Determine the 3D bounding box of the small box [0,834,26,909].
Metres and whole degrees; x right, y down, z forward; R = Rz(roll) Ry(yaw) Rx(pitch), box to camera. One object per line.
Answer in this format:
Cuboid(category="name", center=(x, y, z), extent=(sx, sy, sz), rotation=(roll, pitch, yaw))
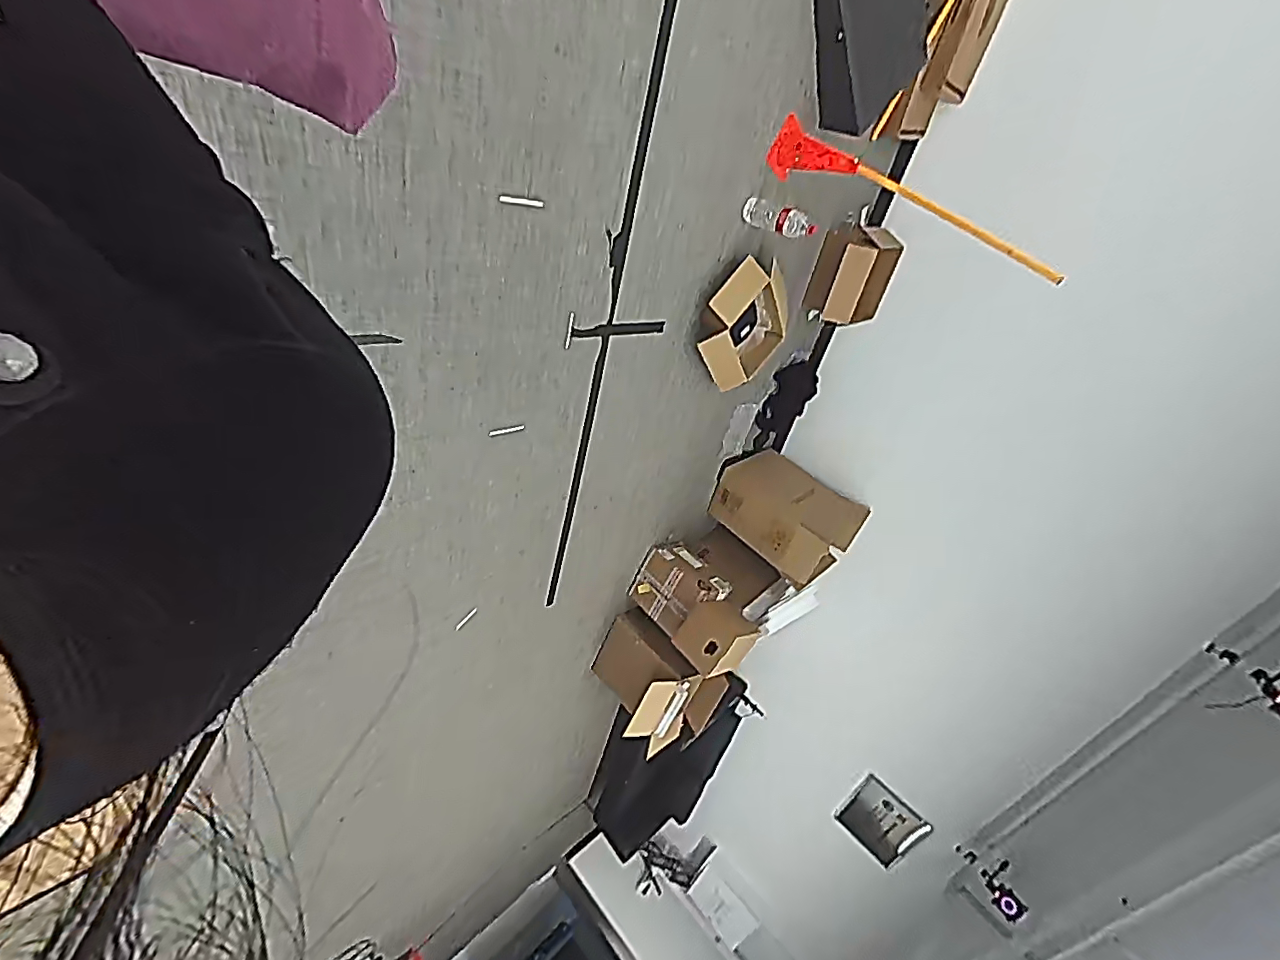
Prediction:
Cuboid(category="small box", center=(-1.804, 1.070, 1.438), extent=(0.168, 0.176, 0.179), rotation=(-30, 142, -37))
